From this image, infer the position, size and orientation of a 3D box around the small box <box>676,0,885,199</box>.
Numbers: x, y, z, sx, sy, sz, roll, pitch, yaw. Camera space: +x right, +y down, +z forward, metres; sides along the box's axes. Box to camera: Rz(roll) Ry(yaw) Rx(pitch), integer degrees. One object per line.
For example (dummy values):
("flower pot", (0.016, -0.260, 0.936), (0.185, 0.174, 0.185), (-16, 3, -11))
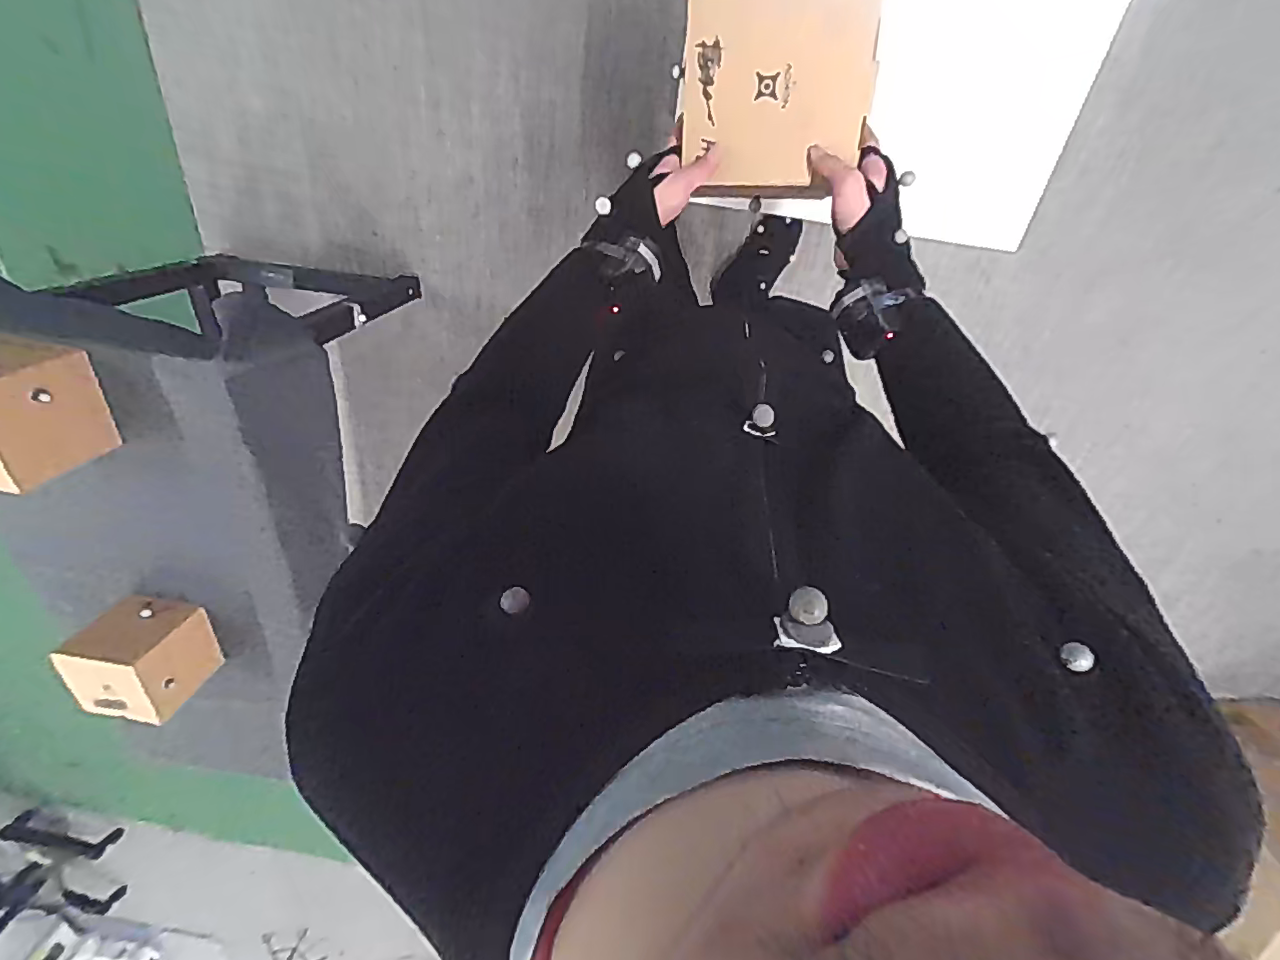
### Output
("small box", (0.132, -0.400, 0.578), (0.179, 0.176, 0.168), (4, 115, 5))

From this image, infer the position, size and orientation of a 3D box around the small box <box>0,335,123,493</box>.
("small box", (-0.974, -0.108, 0.833), (0.168, 0.176, 0.179), (11, 123, 2))

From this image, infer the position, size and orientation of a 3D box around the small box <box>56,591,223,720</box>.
("small box", (-1.016, 0.360, 1.121), (0.168, 0.176, 0.179), (9, 121, 2))
